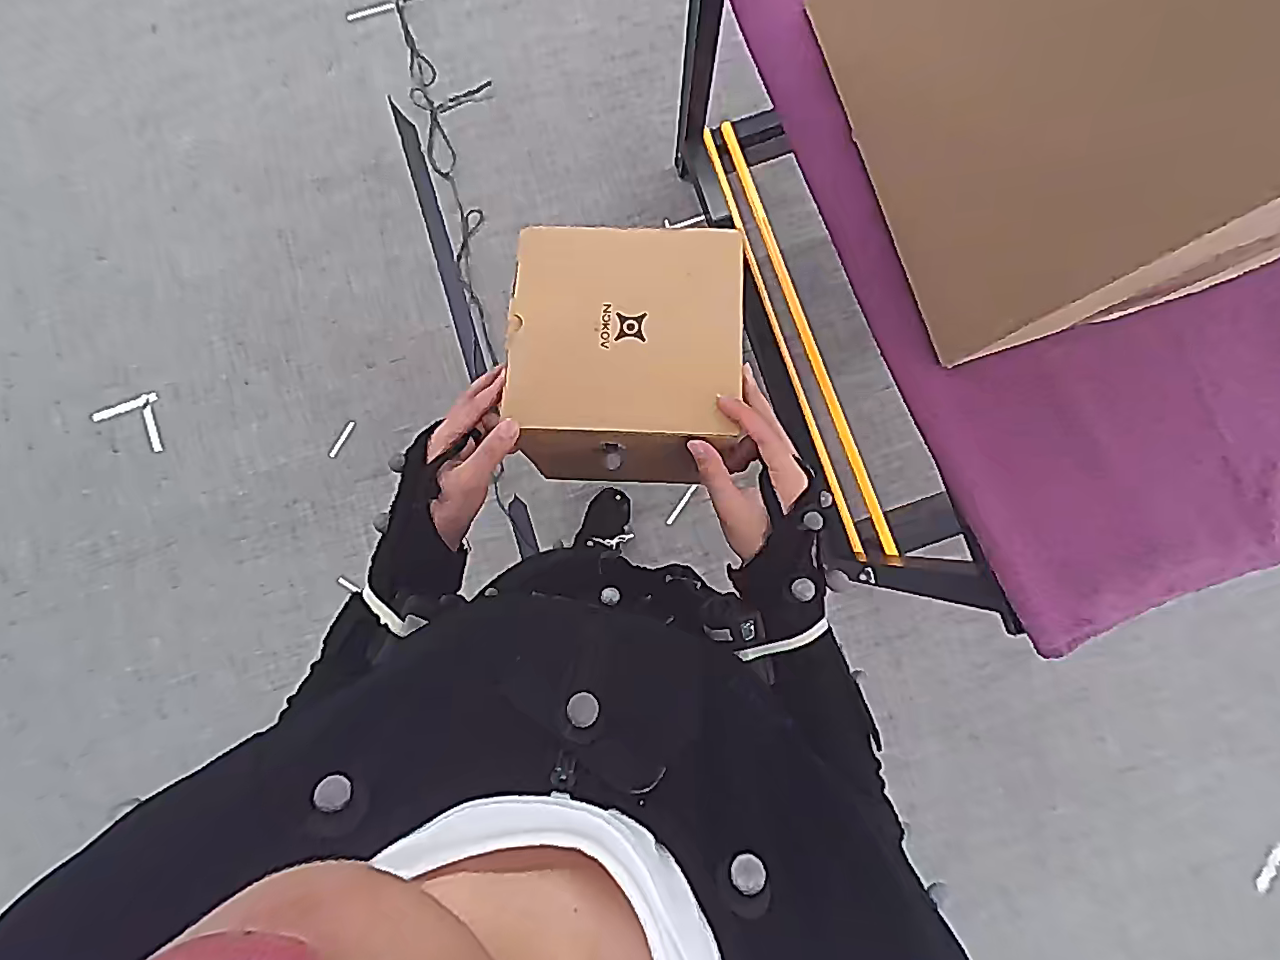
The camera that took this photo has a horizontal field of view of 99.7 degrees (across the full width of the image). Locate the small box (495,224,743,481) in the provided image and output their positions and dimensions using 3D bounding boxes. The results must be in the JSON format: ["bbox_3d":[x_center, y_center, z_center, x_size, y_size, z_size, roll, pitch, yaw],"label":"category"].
[{"bbox_3d":[-0.010,-0.097,0.477,0.179,0.176,0.168,2,77,4],"label":"small box"}]
